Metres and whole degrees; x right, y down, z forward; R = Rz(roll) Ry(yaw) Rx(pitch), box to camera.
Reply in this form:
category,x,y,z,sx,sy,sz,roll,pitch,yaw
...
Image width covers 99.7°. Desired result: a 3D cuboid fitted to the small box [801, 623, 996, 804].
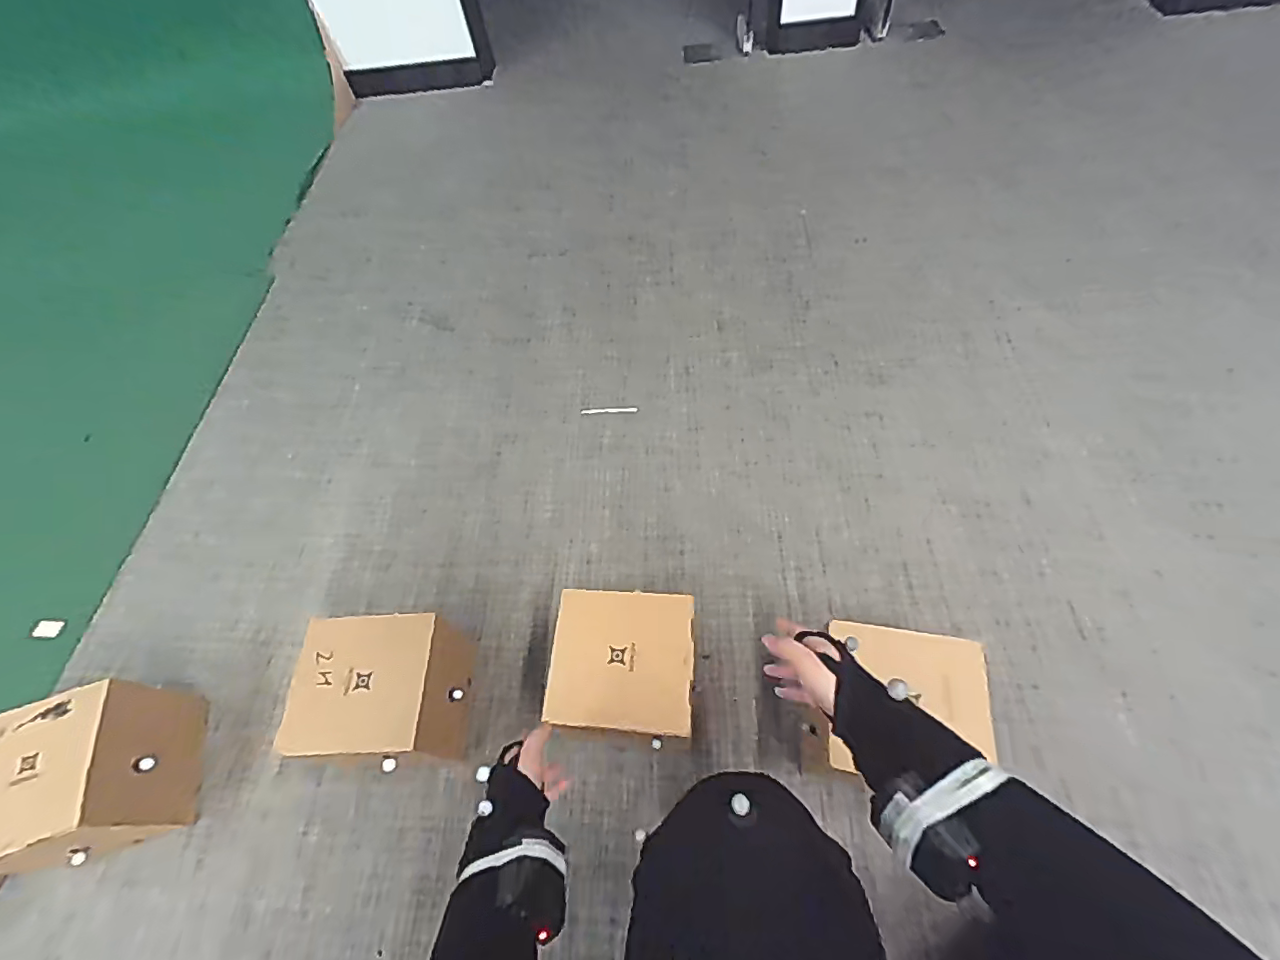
category,x,y,z,sx,sy,sz,roll,pitch,yaw
small box,0.303,0.294,0.674,0.179,0.176,0.168,7,61,9

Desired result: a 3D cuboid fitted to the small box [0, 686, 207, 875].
category,x,y,z,sx,sy,sz,roll,pitch,yaw
small box,-0.726,0.399,0.722,0.168,0.176,0.179,-18,59,-4

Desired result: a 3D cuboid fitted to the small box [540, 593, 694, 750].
category,x,y,z,sx,sy,sz,roll,pitch,yaw
small box,-0.018,0.262,0.729,0.179,0.176,0.168,2,59,6

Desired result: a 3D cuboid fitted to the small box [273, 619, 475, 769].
category,x,y,z,sx,sy,sz,roll,pitch,yaw
small box,-0.342,0.297,0.740,0.179,0.176,0.168,-4,58,4
